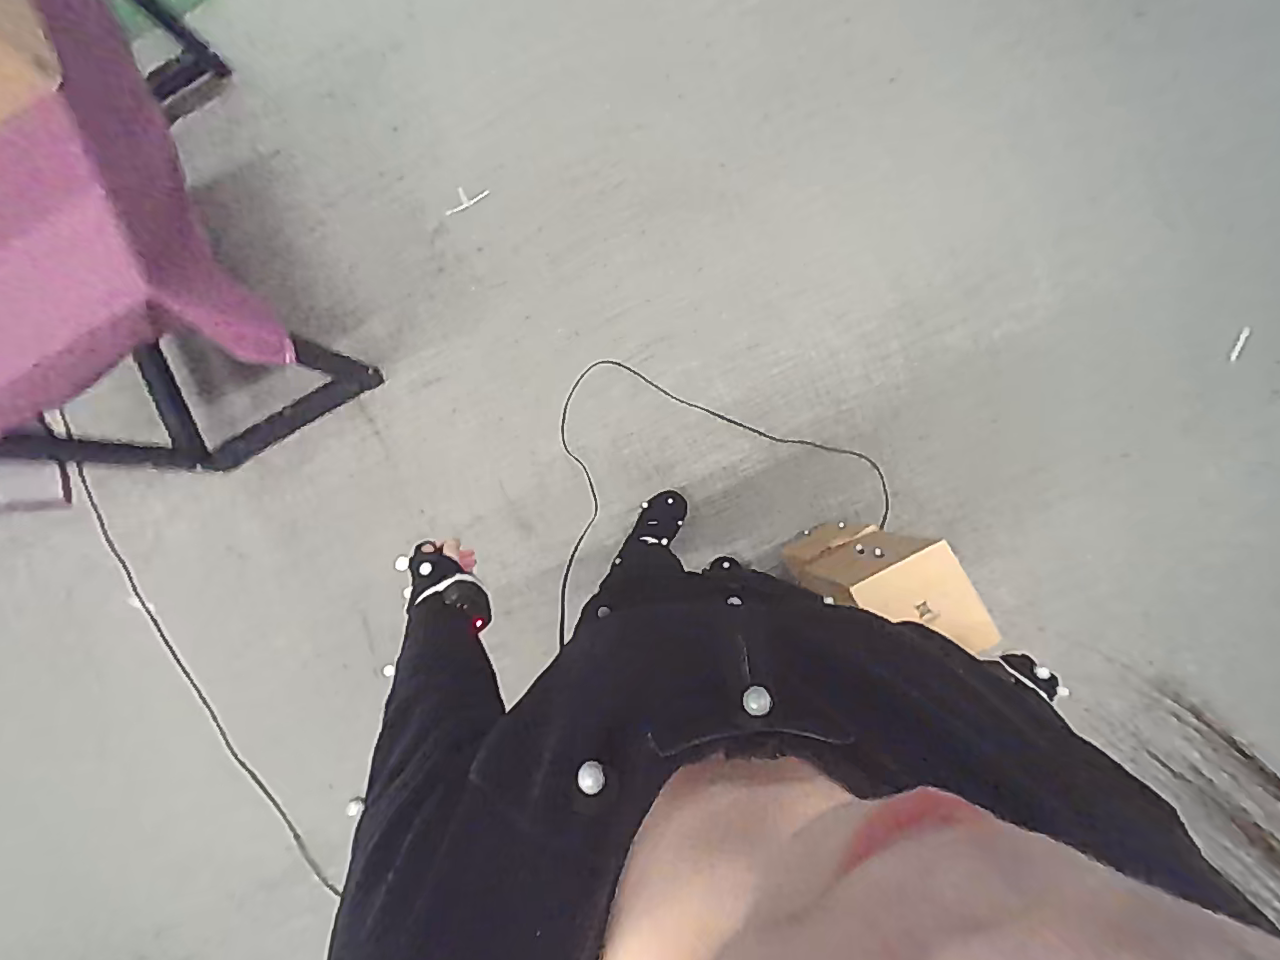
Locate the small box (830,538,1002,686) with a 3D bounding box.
[{"bbox_3d":[0.441,0.208,0.900,0.168,0.176,0.179,-27,85,4],"label":"small box"}]

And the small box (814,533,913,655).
[{"bbox_3d":[0.462,0.216,1.063,0.179,0.176,0.168,-28,85,3],"label":"small box"}]

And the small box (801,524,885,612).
[{"bbox_3d":[0.488,0.212,1.225,0.168,0.176,0.179,-28,86,4],"label":"small box"}]
